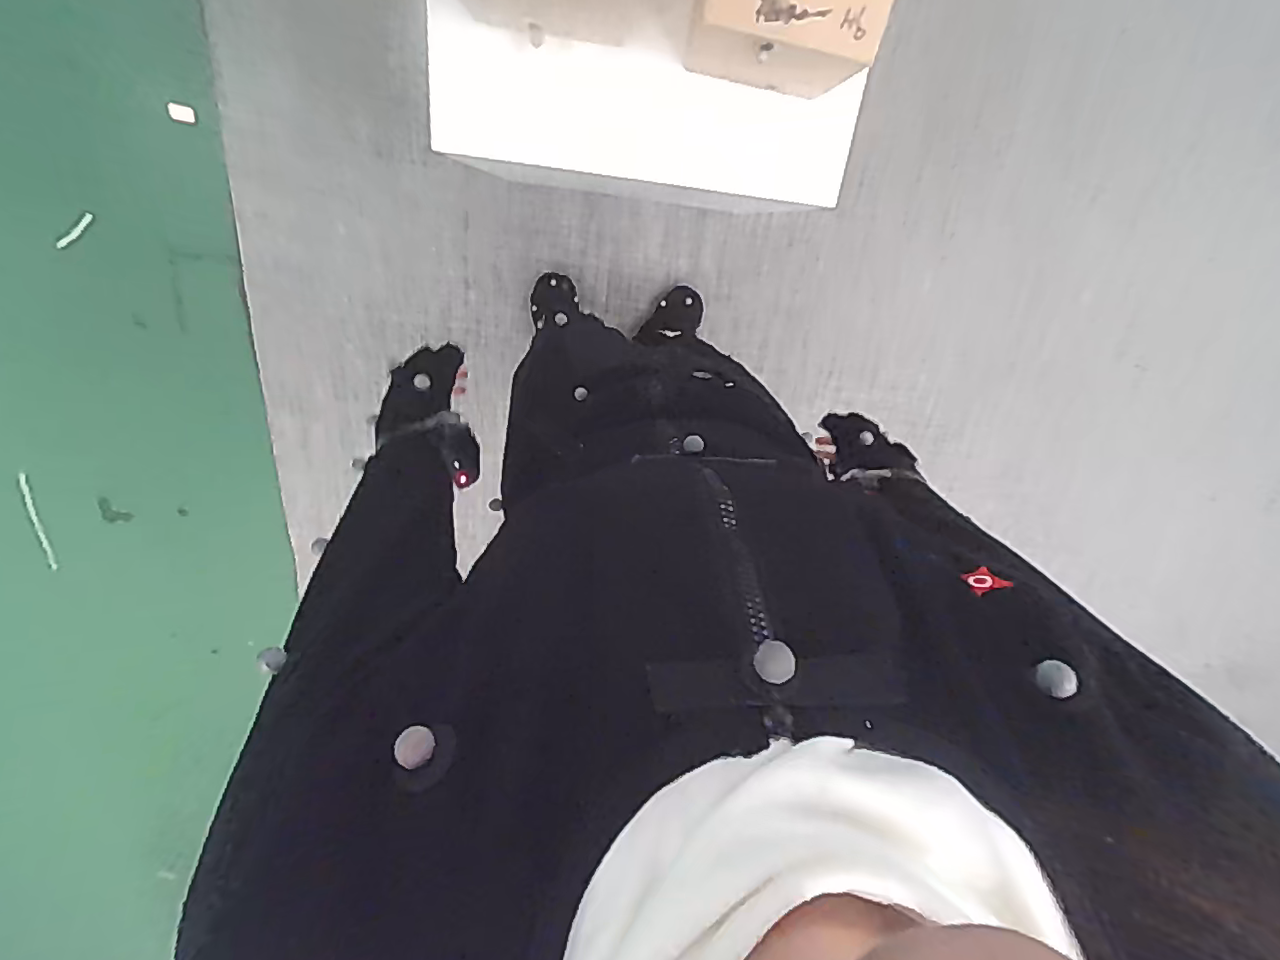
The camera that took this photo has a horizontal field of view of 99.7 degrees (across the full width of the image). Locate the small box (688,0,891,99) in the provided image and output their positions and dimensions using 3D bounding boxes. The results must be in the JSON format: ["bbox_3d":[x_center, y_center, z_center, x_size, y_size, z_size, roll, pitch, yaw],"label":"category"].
[{"bbox_3d":[0.149,-0.510,0.531,0.168,0.176,0.179,9,114,-6],"label":"small box"}]

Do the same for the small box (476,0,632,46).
[{"bbox_3d":[-0.084,-0.548,0.507,0.168,0.176,0.179,4,117,-3],"label":"small box"}]
